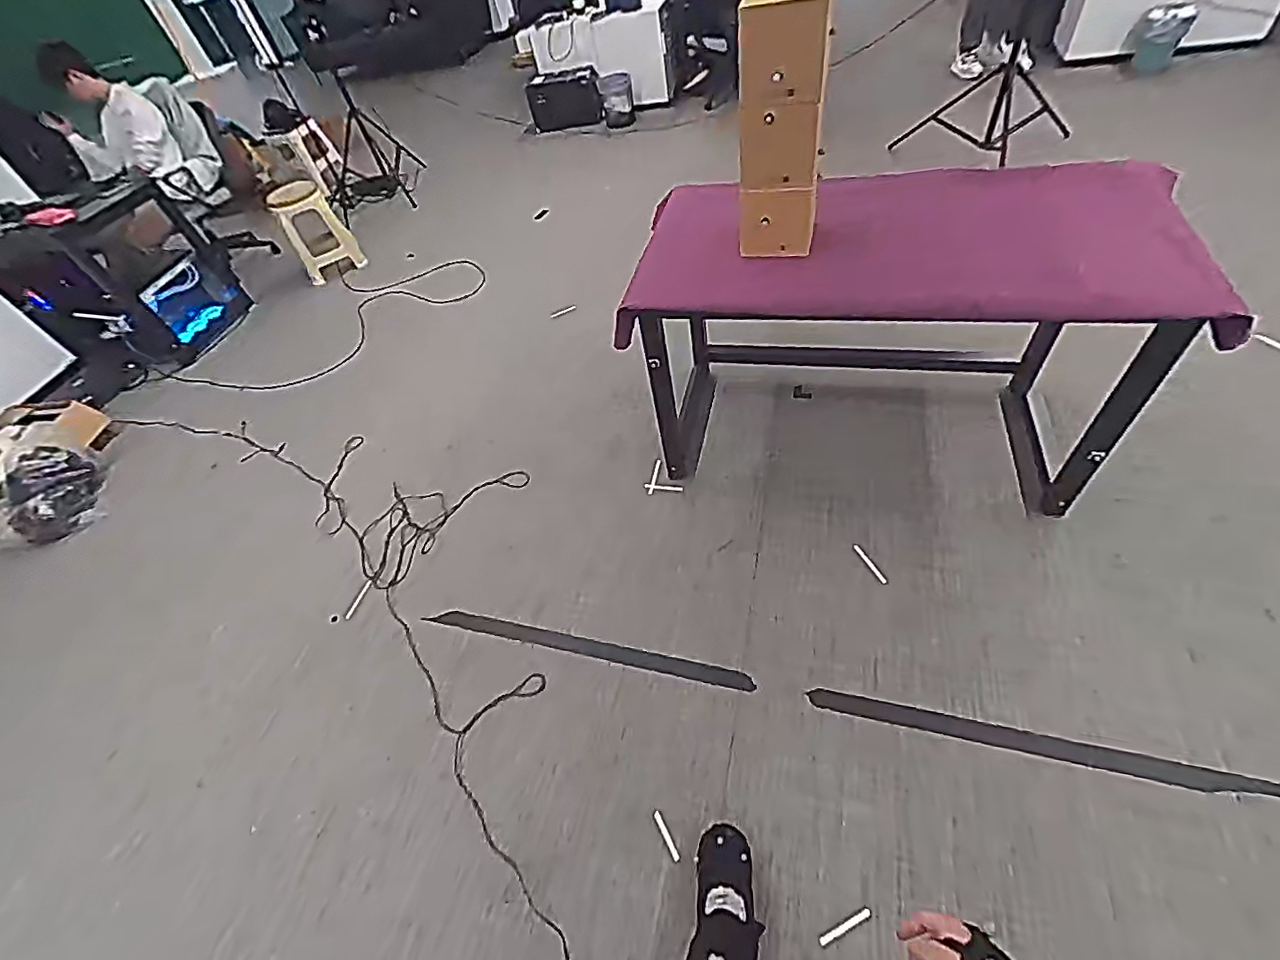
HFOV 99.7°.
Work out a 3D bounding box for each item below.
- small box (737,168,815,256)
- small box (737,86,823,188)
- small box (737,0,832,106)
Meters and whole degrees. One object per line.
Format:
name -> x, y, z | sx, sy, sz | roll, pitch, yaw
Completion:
small box -> 0.340, -0.674, 1.341 | 0.168, 0.176, 0.179 | 7, 53, 17
small box -> 0.314, -0.781, 1.219 | 0.168, 0.176, 0.179 | 6, 52, 17
small box -> 0.291, -0.882, 1.090 | 0.168, 0.176, 0.179 | 7, 54, 17
